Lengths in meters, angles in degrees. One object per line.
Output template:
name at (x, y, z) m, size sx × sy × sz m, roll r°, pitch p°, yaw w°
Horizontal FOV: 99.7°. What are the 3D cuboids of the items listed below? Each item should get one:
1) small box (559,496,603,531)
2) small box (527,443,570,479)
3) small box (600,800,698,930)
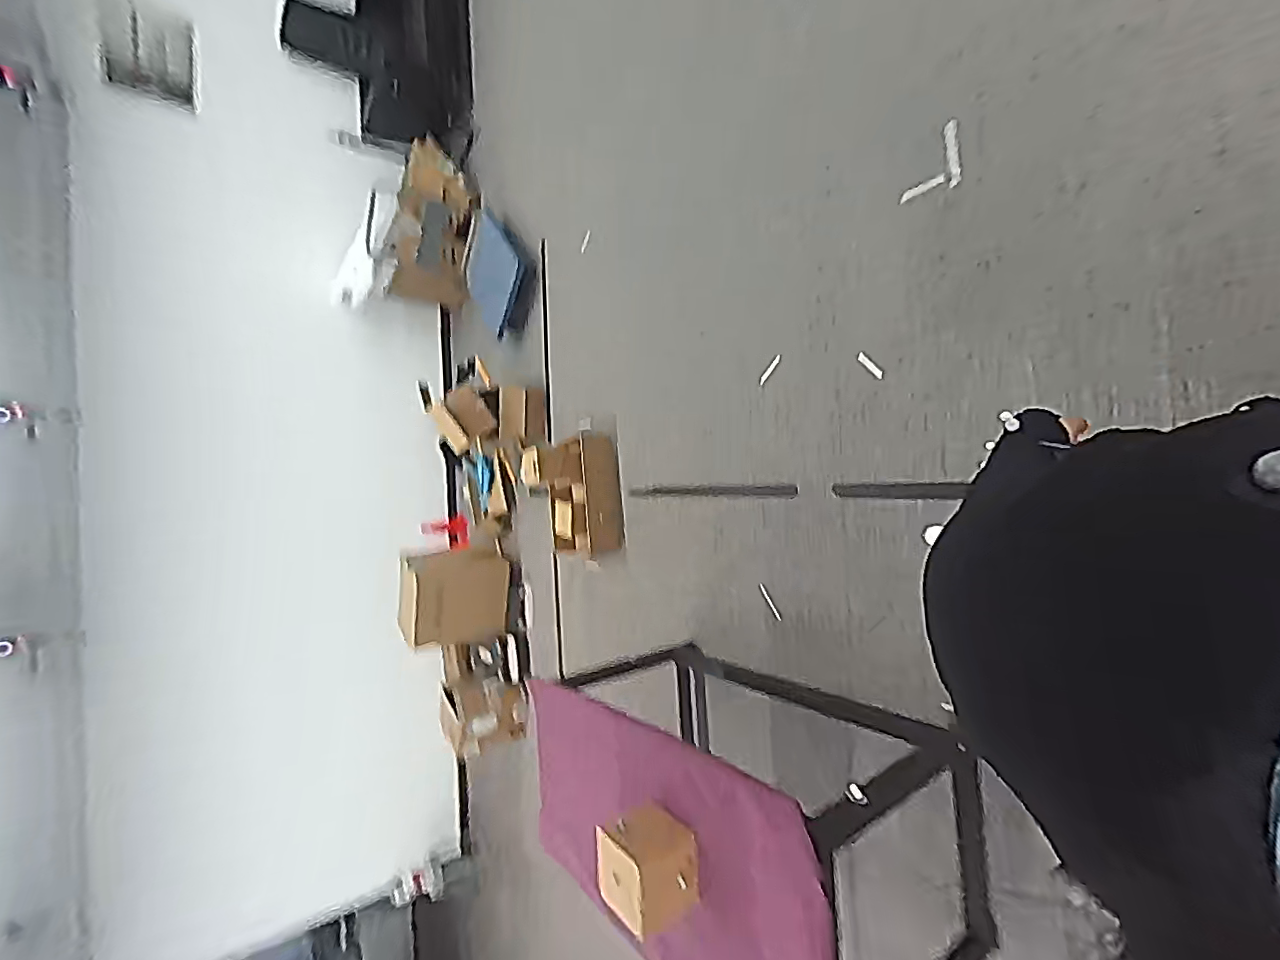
small box at (-0.315, 0.175, 2.886) m, size 0.179 × 0.176 × 0.168 m, roll 7°, pitch 96°, yaw 54°
small box at (-0.468, -0.099, 2.801) m, size 0.179 × 0.176 × 0.168 m, roll -10°, pitch 84°, yaw 55°
small box at (0.019, 0.900, 1.291) m, size 0.179 × 0.176 × 0.168 m, roll -1°, pitch 91°, yaw 54°
